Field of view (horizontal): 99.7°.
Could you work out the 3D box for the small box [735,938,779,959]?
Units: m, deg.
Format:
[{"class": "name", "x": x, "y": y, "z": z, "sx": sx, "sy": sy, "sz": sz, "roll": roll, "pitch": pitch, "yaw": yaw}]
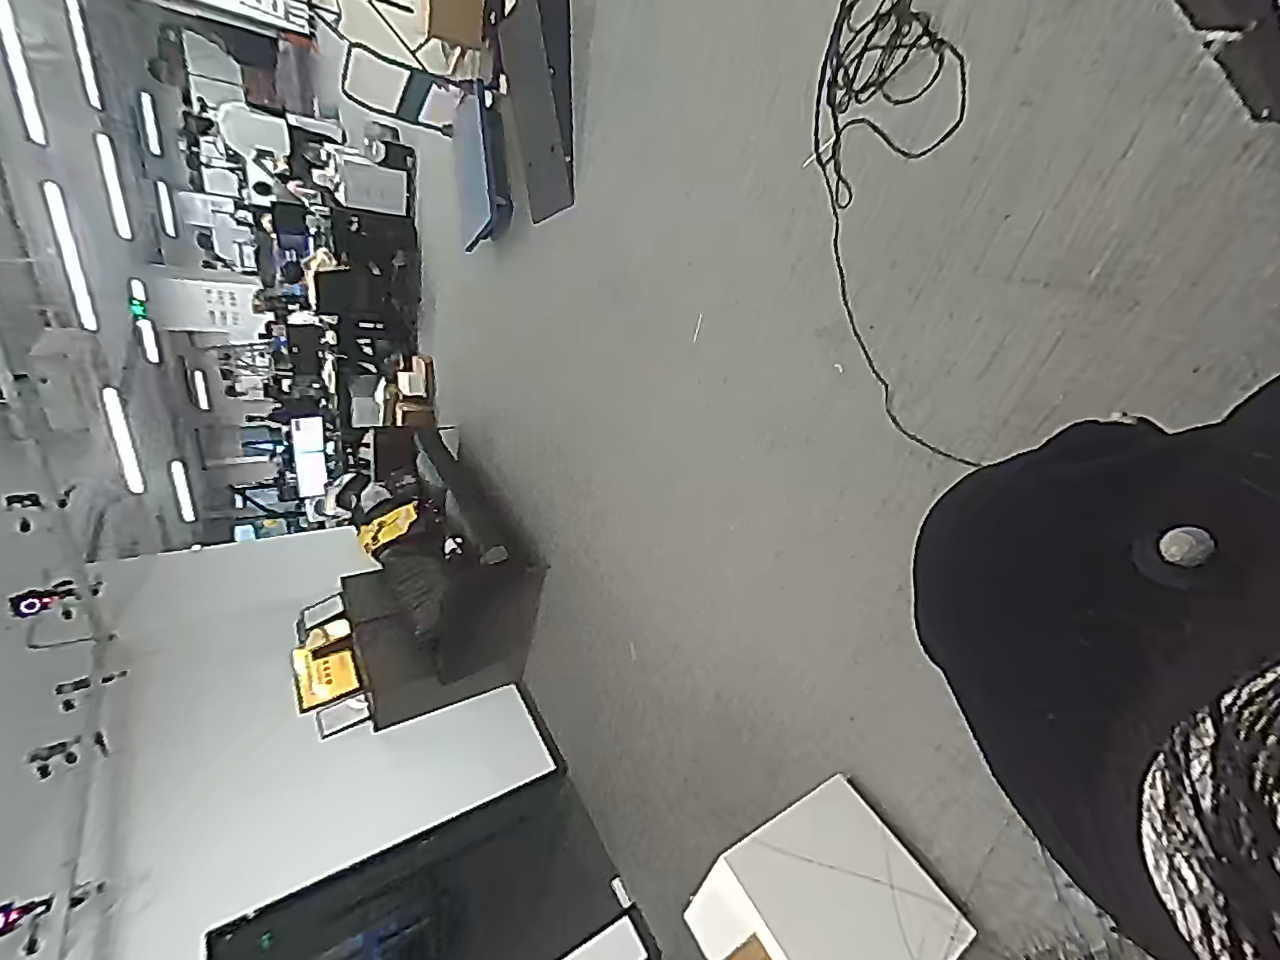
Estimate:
[{"class": "small box", "x": 0.287, "y": 1.329, "z": 1.374, "sx": 0.168, "sy": 0.176, "sz": 0.179, "roll": 45, "pitch": 132, "yaw": 41}]
